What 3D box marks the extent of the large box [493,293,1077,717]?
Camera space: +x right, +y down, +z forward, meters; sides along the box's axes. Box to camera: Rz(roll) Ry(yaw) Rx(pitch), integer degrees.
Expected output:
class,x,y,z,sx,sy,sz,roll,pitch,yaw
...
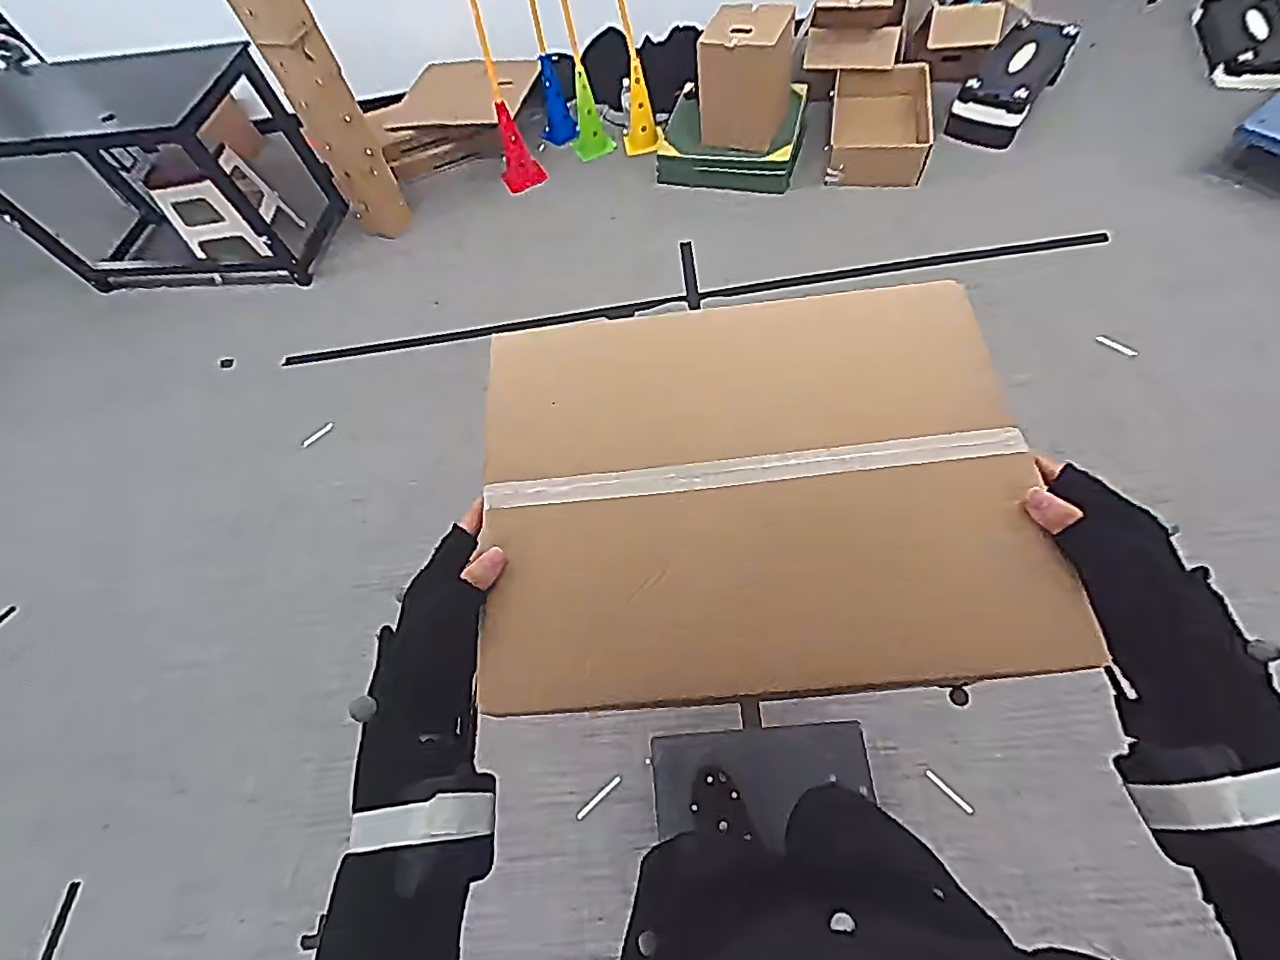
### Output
class,x,y,z,sx,sy,sz,roll,pitch,yaw
large box,0.097,0.056,0.559,0.408,0.320,0.320,-6,66,4

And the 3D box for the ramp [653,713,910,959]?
class,x,y,z,sx,sy,sz,roll,pitch,yaw
ramp,0.318,1.040,1.123,0.509,0.206,0.991,-8,62,3
